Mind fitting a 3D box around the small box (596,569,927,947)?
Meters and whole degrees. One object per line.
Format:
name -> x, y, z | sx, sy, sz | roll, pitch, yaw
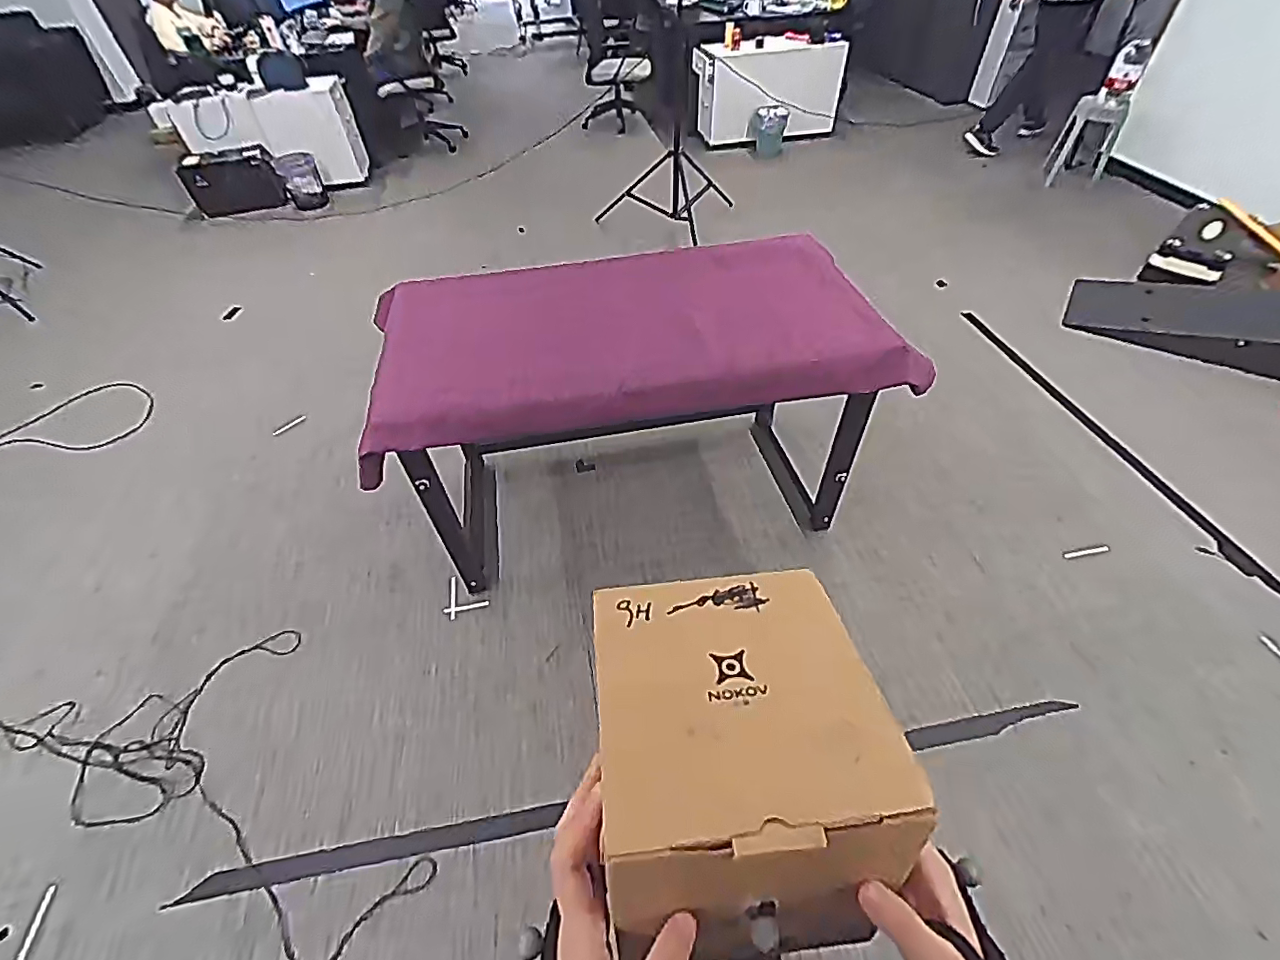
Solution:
small box -> 0.059, 0.188, 0.375 | 0.168, 0.176, 0.179 | -5, 34, -4
